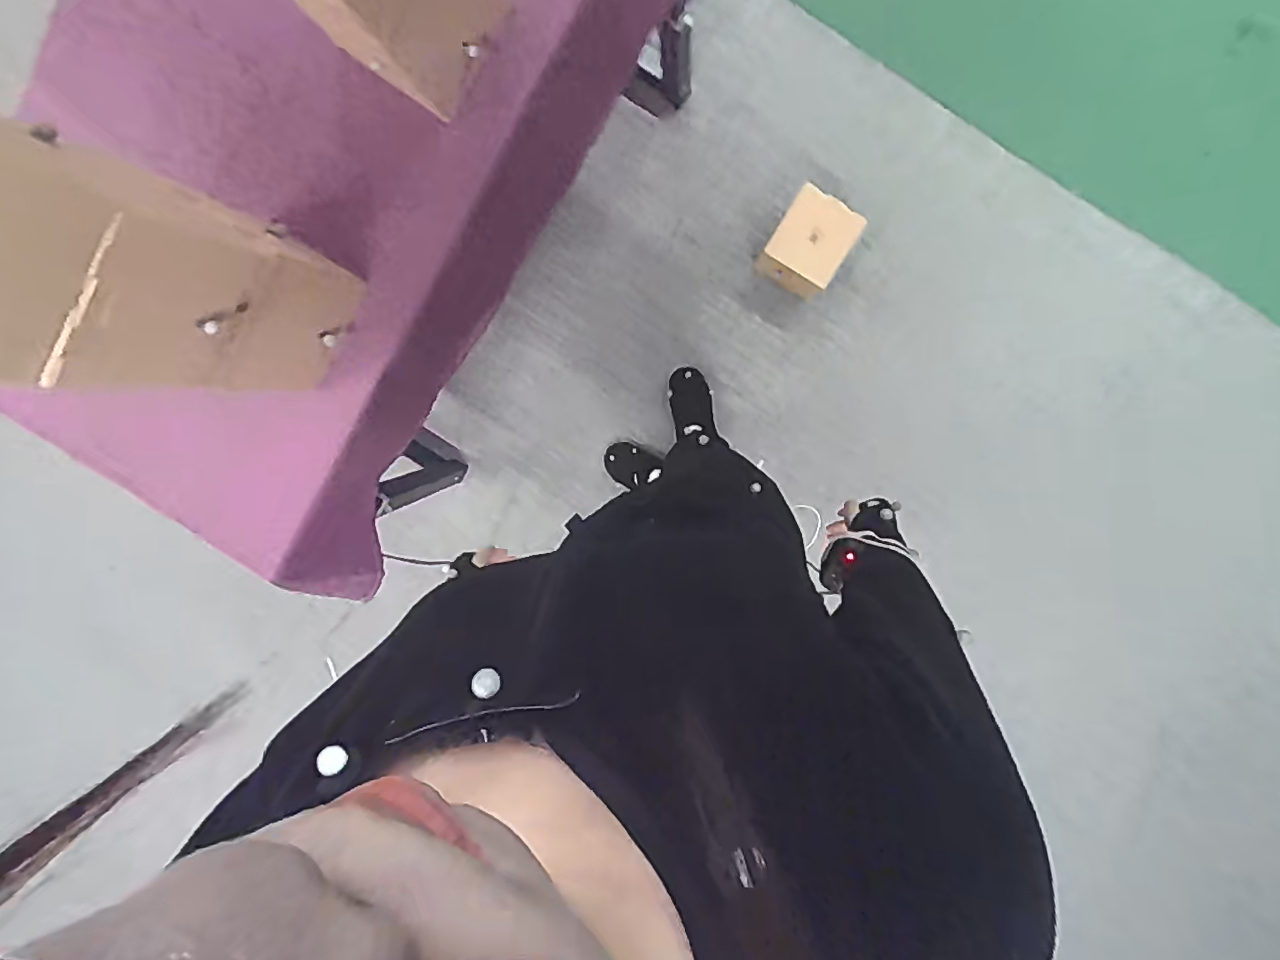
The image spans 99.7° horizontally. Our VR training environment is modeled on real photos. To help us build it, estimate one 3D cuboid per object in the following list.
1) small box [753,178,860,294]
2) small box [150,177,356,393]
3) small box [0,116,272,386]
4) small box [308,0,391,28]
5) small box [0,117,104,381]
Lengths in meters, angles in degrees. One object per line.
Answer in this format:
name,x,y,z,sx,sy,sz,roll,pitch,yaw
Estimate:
small box,0.386,-0.571,1.295,0.168,0.176,0.179,31,100,-2
small box,-0.494,-0.225,0.674,0.168,0.176,0.179,32,100,-1
small box,-0.510,-0.201,0.512,0.179,0.176,0.168,33,101,-2
small box,-0.291,-0.529,0.440,0.179,0.176,0.168,33,100,-2
small box,-0.520,-0.177,0.349,0.168,0.176,0.179,35,99,-2
